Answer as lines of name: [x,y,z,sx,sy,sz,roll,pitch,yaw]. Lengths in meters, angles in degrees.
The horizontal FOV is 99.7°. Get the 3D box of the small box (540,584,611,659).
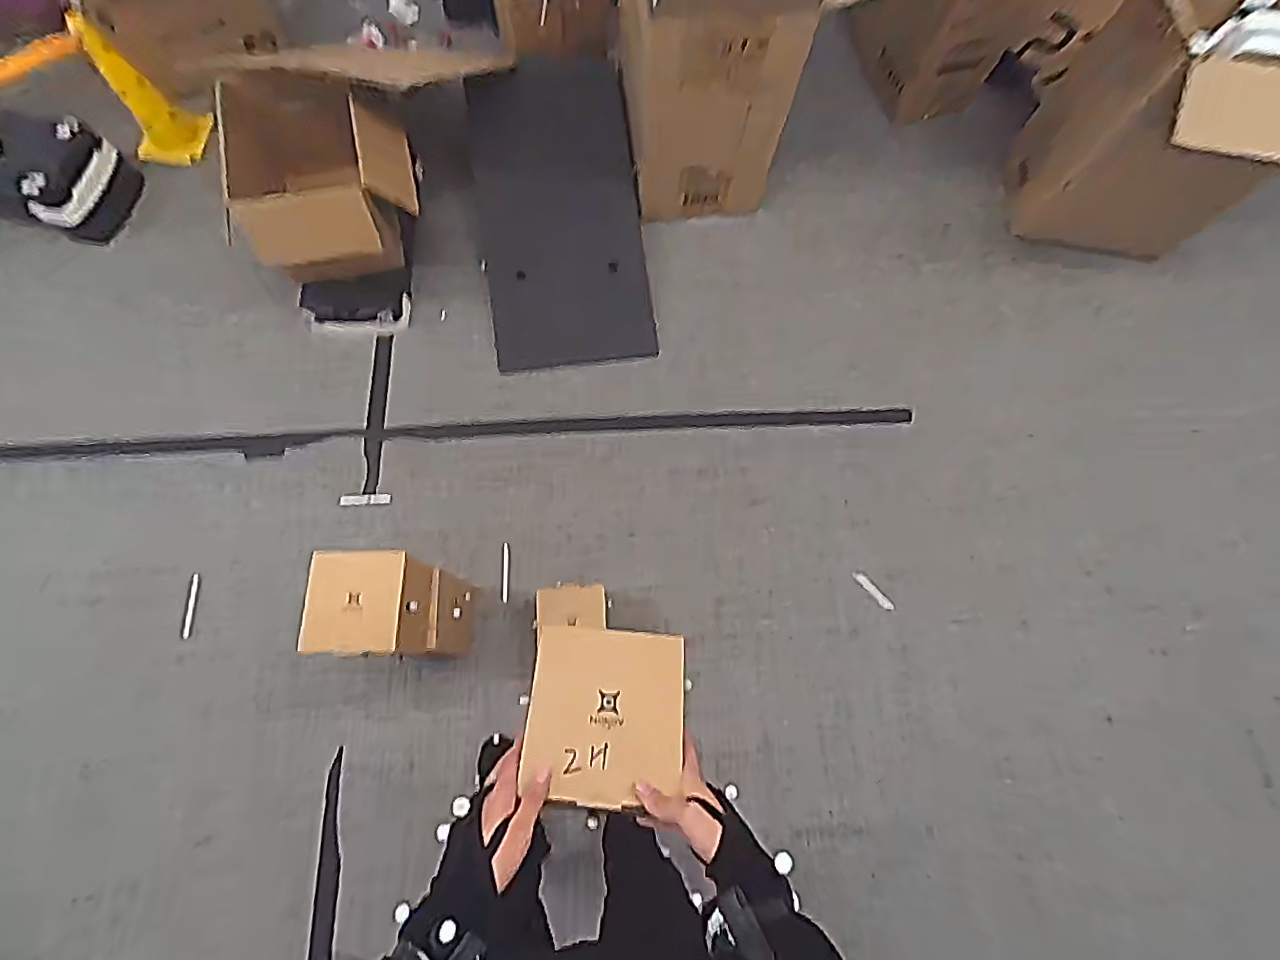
small box: [-0.158,0.361,1.348,0.168,0.176,0.179,-4,75,-3]

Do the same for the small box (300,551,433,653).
small box: [-0.503,0.234,1.023,0.168,0.176,0.179,0,74,-4]

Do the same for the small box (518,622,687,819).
small box: [-0.041,0.285,0.633,0.168,0.176,0.179,6,56,-3]

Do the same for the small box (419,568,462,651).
small box: [-0.501,0.287,1.177,0.179,0.176,0.168,-1,73,-5]
